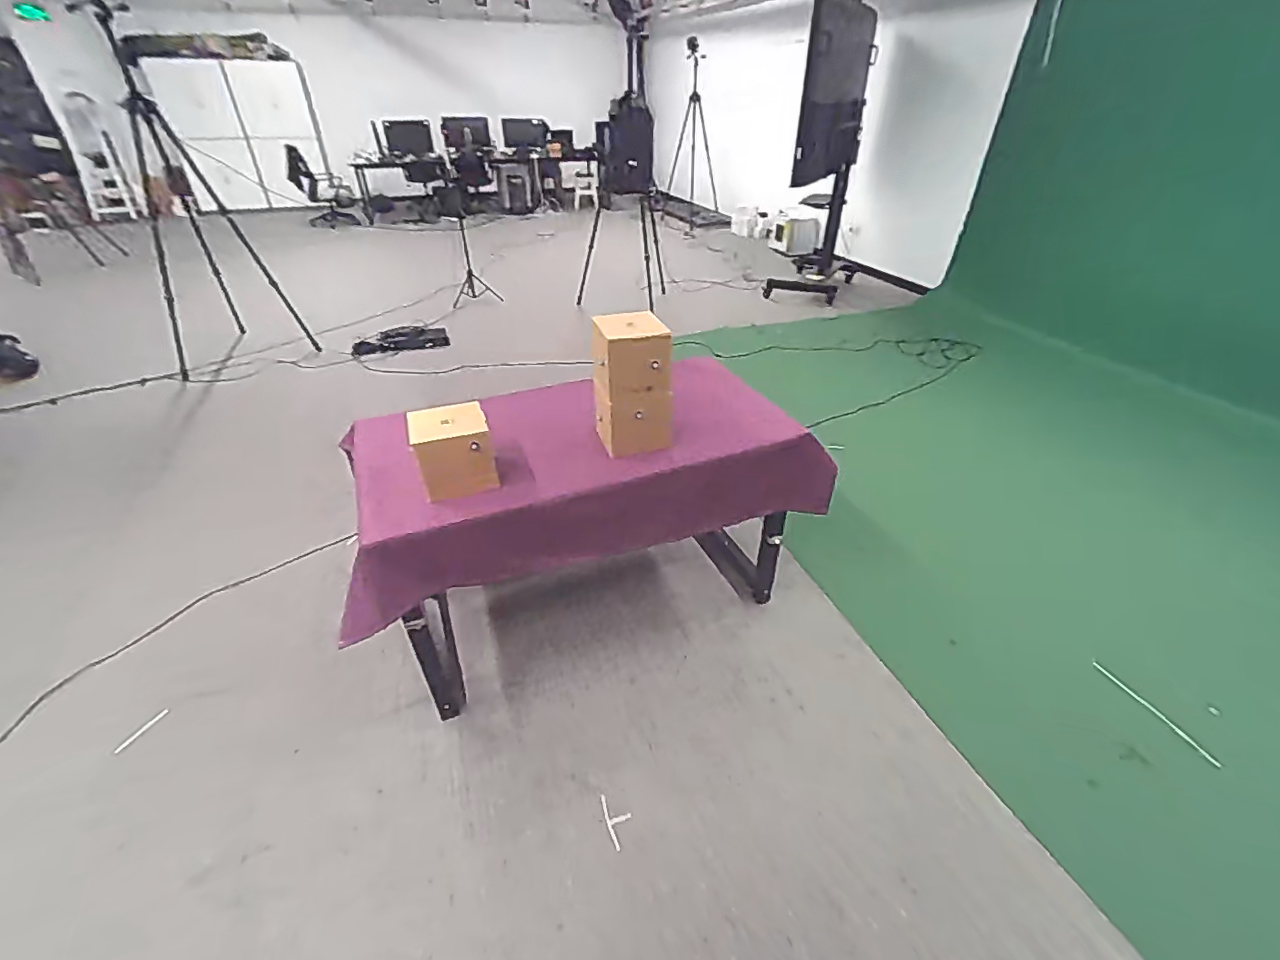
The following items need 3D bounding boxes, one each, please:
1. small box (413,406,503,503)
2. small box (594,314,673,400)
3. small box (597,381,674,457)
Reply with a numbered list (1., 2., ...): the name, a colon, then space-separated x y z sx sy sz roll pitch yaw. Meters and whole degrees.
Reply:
1. small box: -0.452 -0.063 1.346 0.179 0.176 0.168 -13 37 -18
2. small box: -0.018 -0.317 1.406 0.168 0.176 0.179 -10 36 -13
3. small box: -0.013 -0.179 1.494 0.179 0.176 0.168 -11 37 -14
